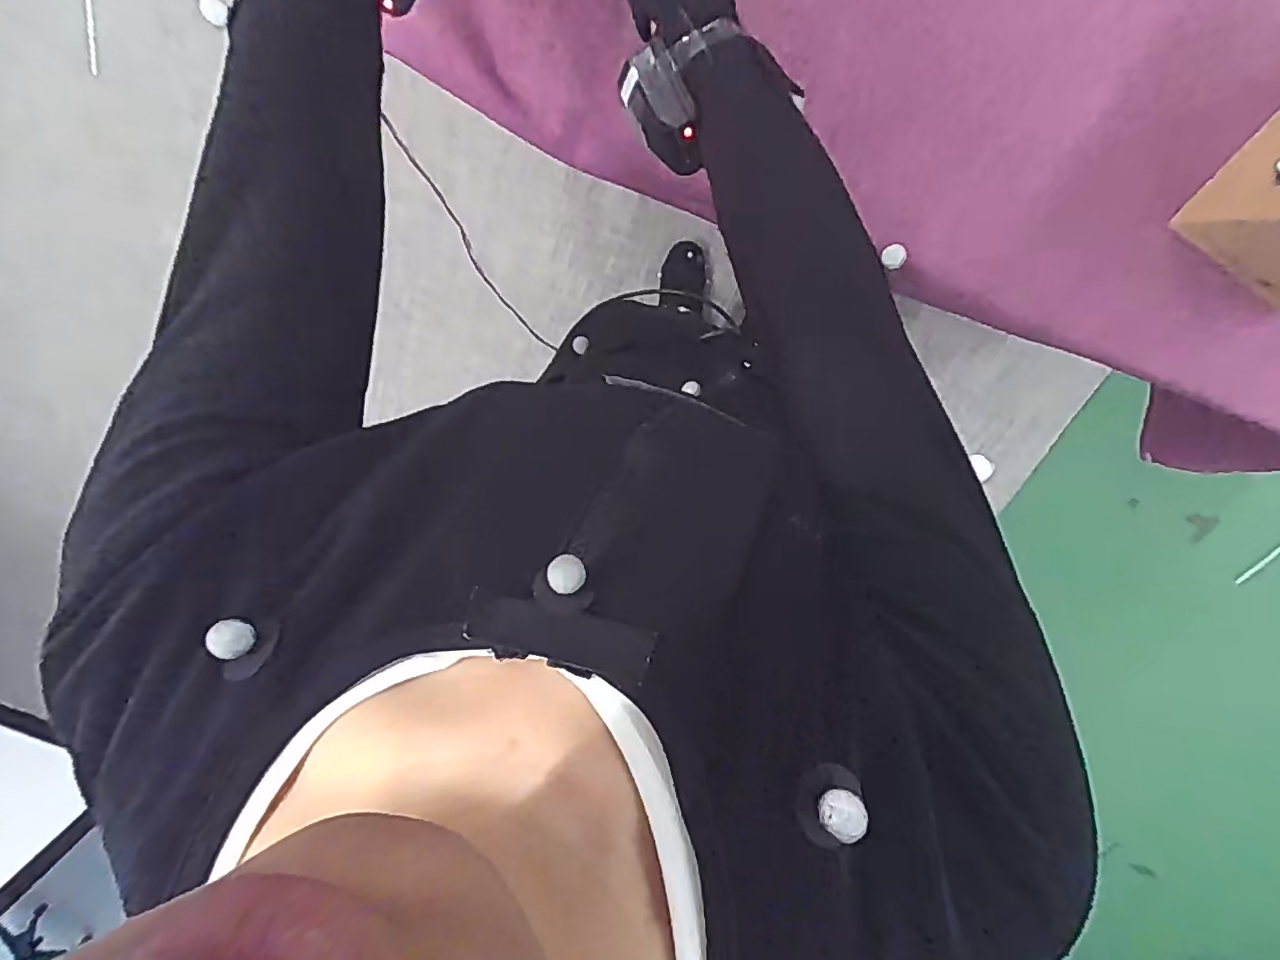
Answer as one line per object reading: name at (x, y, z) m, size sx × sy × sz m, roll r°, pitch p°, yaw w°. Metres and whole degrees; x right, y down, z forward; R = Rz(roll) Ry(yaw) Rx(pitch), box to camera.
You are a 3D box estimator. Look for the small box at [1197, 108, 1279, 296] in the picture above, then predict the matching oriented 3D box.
small box at (0.626, -0.249, 0.436) m, size 0.168 × 0.176 × 0.179 m, roll 31°, pitch 115°, yaw -6°
